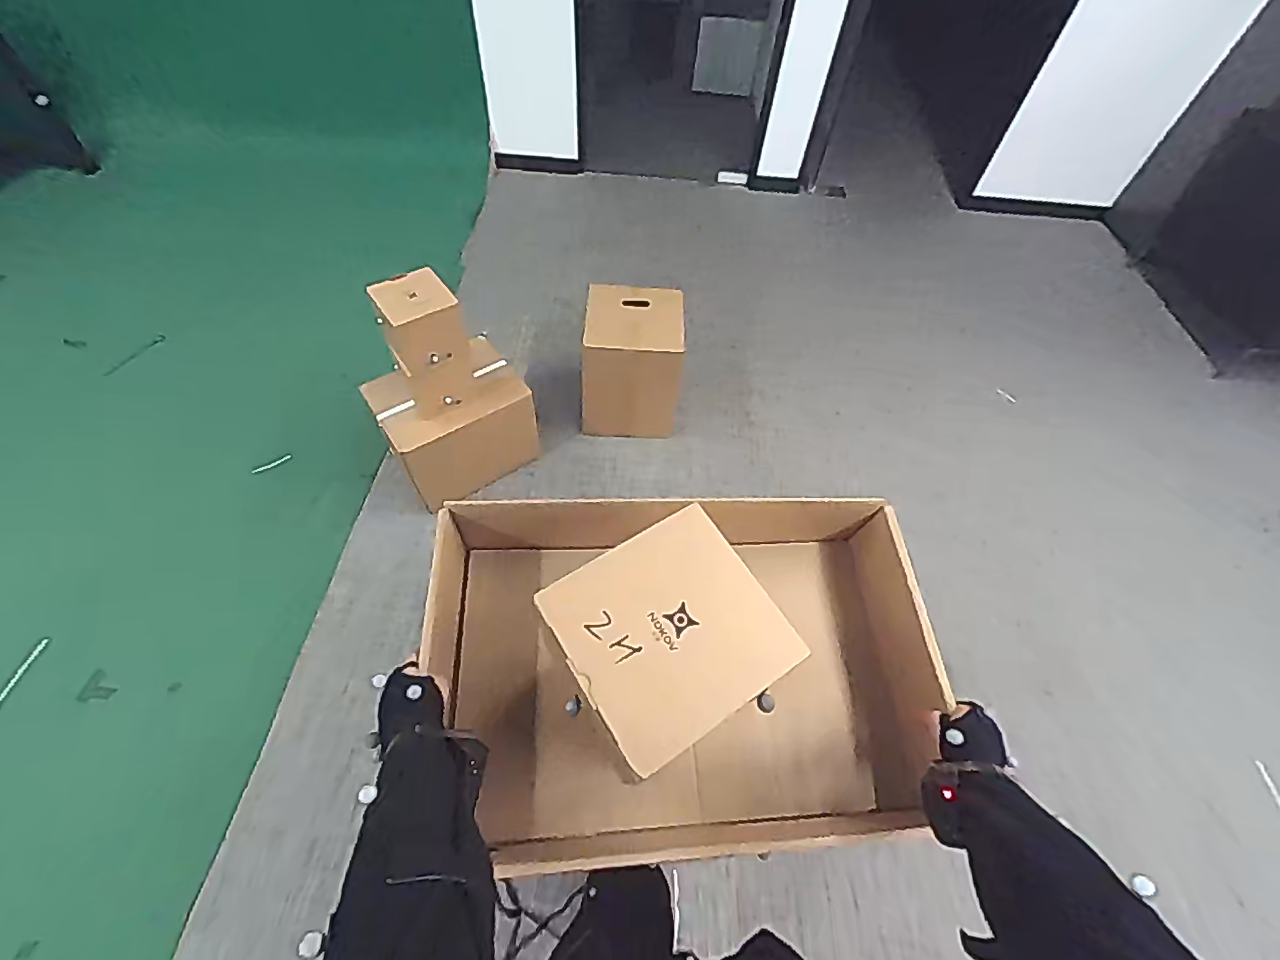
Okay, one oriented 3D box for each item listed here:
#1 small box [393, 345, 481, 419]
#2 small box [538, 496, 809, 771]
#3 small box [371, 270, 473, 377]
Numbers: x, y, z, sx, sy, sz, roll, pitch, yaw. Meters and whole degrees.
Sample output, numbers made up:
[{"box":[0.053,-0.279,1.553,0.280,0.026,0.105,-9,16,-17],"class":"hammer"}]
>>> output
[{"box":[-0.564,-0.302,1.509,0.168,0.176,0.179,-27,61,-21],"class":"small box"},{"box":[0.020,0.150,0.518,0.179,0.176,0.168,-28,67,-19],"class":"small box"},{"box":[-0.548,-0.395,1.376,0.168,0.176,0.179,-30,61,-22],"class":"small box"}]
